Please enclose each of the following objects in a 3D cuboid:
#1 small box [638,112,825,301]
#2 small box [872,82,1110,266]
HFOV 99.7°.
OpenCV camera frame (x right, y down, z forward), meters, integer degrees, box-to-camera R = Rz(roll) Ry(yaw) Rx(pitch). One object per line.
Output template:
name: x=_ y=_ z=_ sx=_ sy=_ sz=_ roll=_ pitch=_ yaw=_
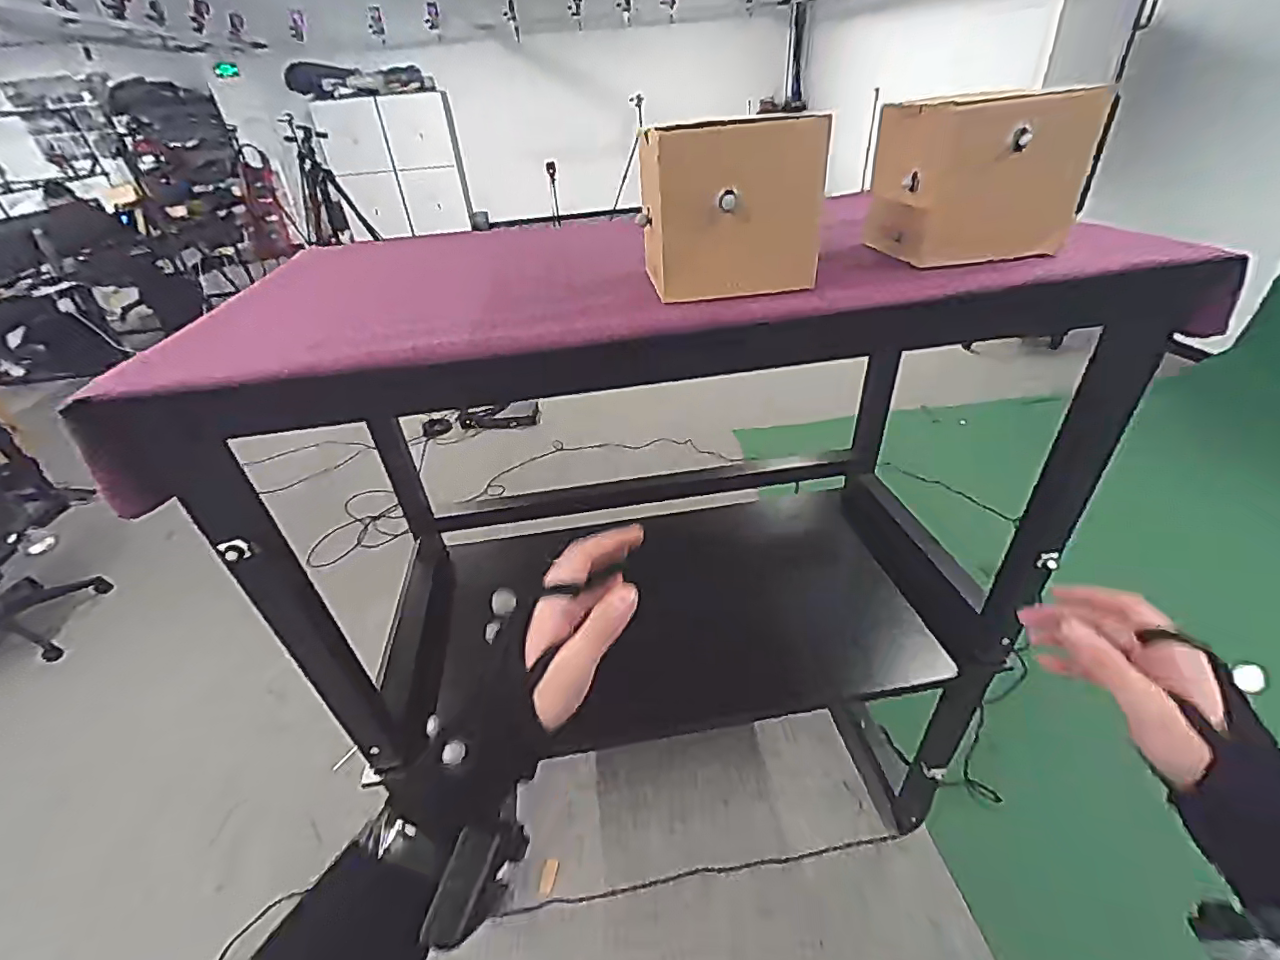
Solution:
small box: x=0.098 y=-0.319 z=0.633 sx=0.179 sy=0.176 sz=0.168 roll=-8 pitch=35 yaw=-2
small box: x=0.402 y=-0.370 z=0.663 sx=0.179 sy=0.176 sz=0.168 roll=-7 pitch=35 yaw=0
